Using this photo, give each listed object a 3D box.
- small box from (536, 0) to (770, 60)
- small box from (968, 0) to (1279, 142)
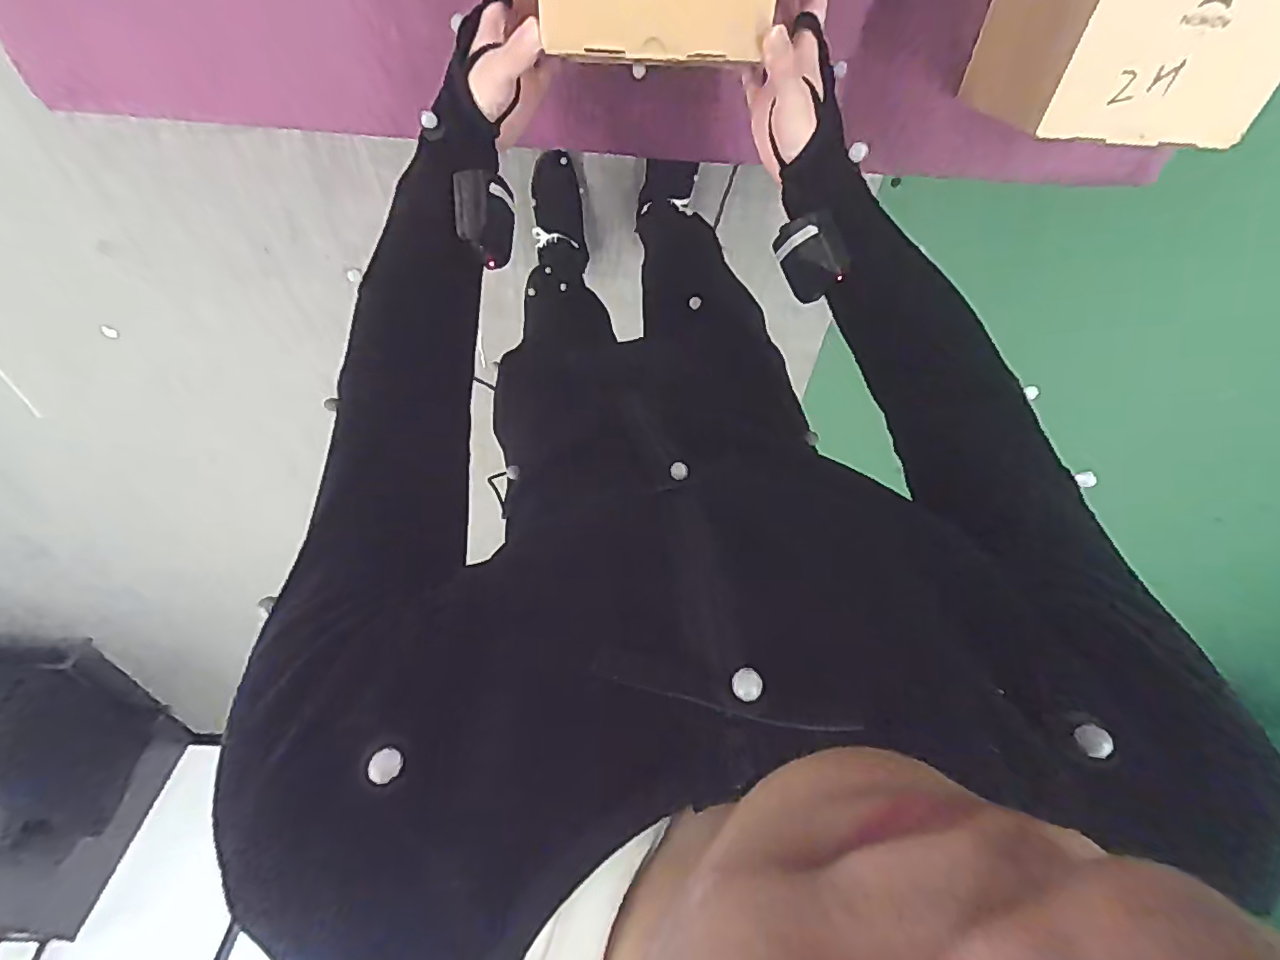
[{"bbox_3d":[0.012,-0.426,0.400,0.168,0.176,0.179,2,129,0],"label":"small box"},{"bbox_3d":[0.403,-0.395,0.432,0.168,0.176,0.179,4,134,0],"label":"small box"}]
